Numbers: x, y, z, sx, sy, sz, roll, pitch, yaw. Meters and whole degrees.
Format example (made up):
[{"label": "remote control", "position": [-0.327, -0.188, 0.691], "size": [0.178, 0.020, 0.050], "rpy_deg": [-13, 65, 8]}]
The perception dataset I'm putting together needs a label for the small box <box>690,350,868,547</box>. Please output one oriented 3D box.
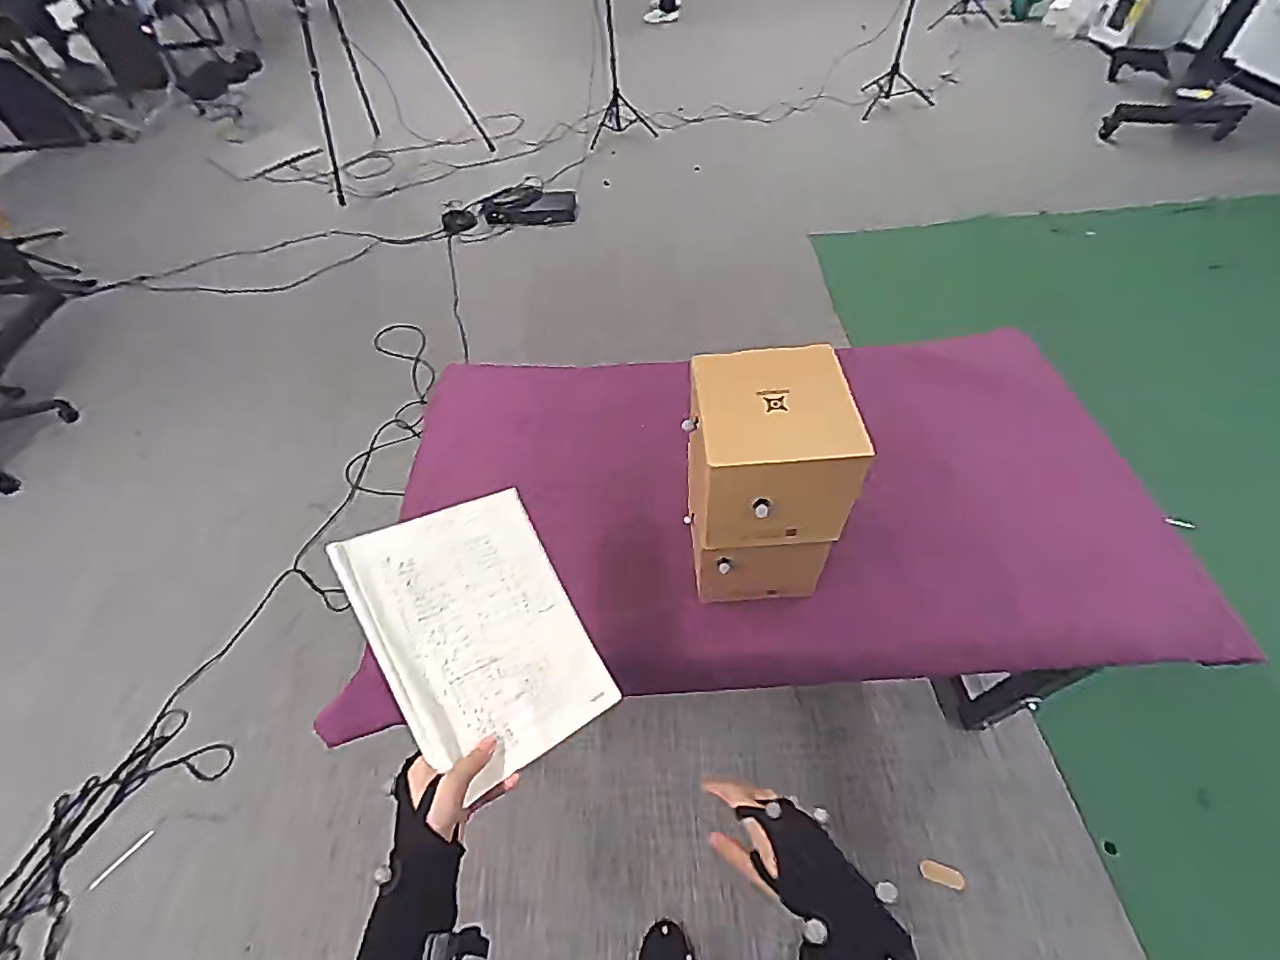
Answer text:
[{"label": "small box", "position": [0.151, -0.030, 0.651], "size": [0.168, 0.176, 0.179], "rpy_deg": [-4, 51, 2]}]
